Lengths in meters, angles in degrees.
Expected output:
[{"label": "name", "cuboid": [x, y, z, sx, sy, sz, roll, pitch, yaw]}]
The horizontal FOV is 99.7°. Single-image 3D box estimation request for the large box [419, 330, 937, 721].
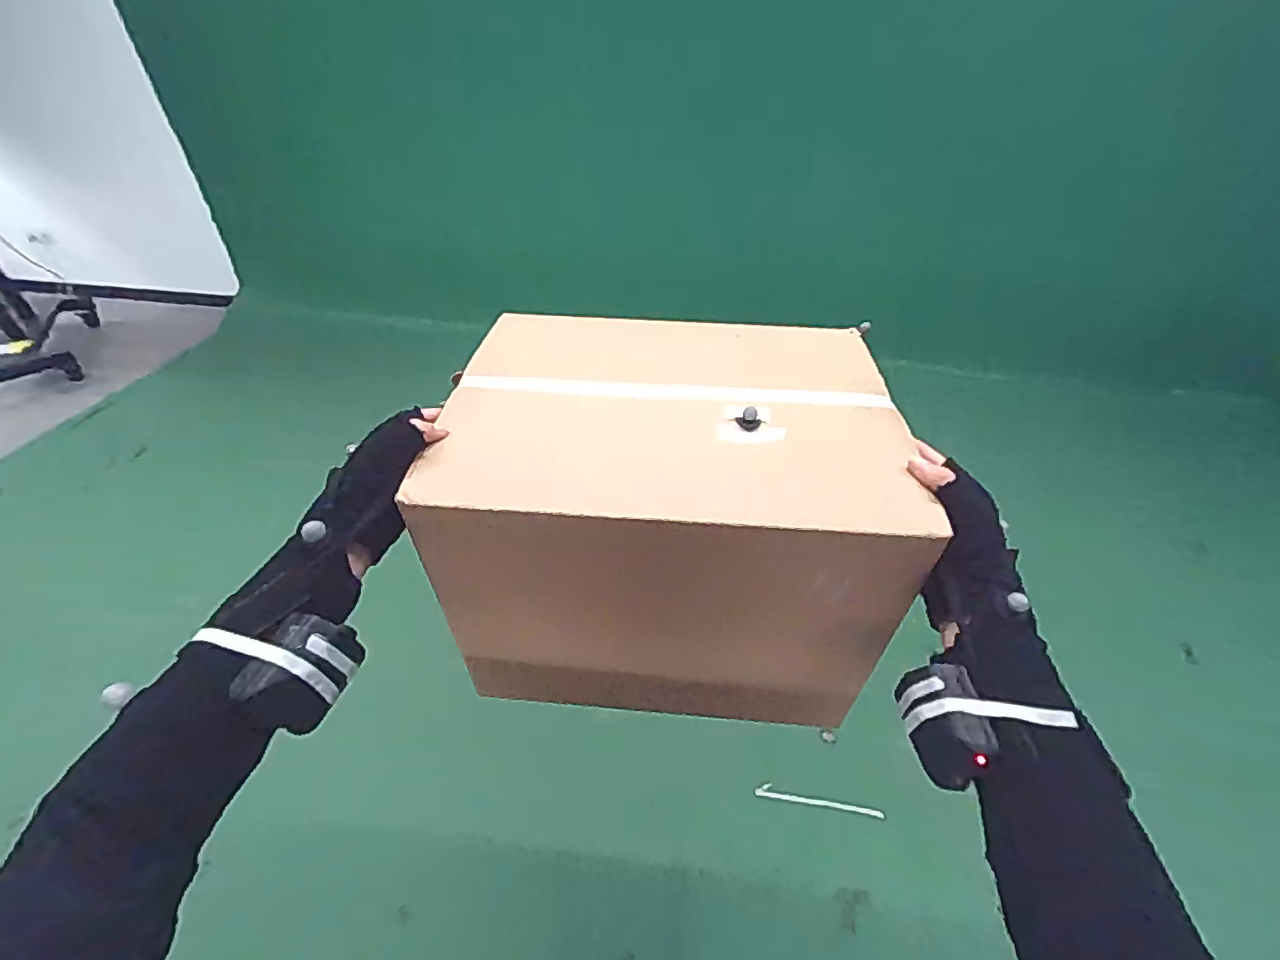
[{"label": "large box", "cuboid": [0.030, 0.046, 0.615, 0.408, 0.320, 0.320, 4, 43, 2]}]
